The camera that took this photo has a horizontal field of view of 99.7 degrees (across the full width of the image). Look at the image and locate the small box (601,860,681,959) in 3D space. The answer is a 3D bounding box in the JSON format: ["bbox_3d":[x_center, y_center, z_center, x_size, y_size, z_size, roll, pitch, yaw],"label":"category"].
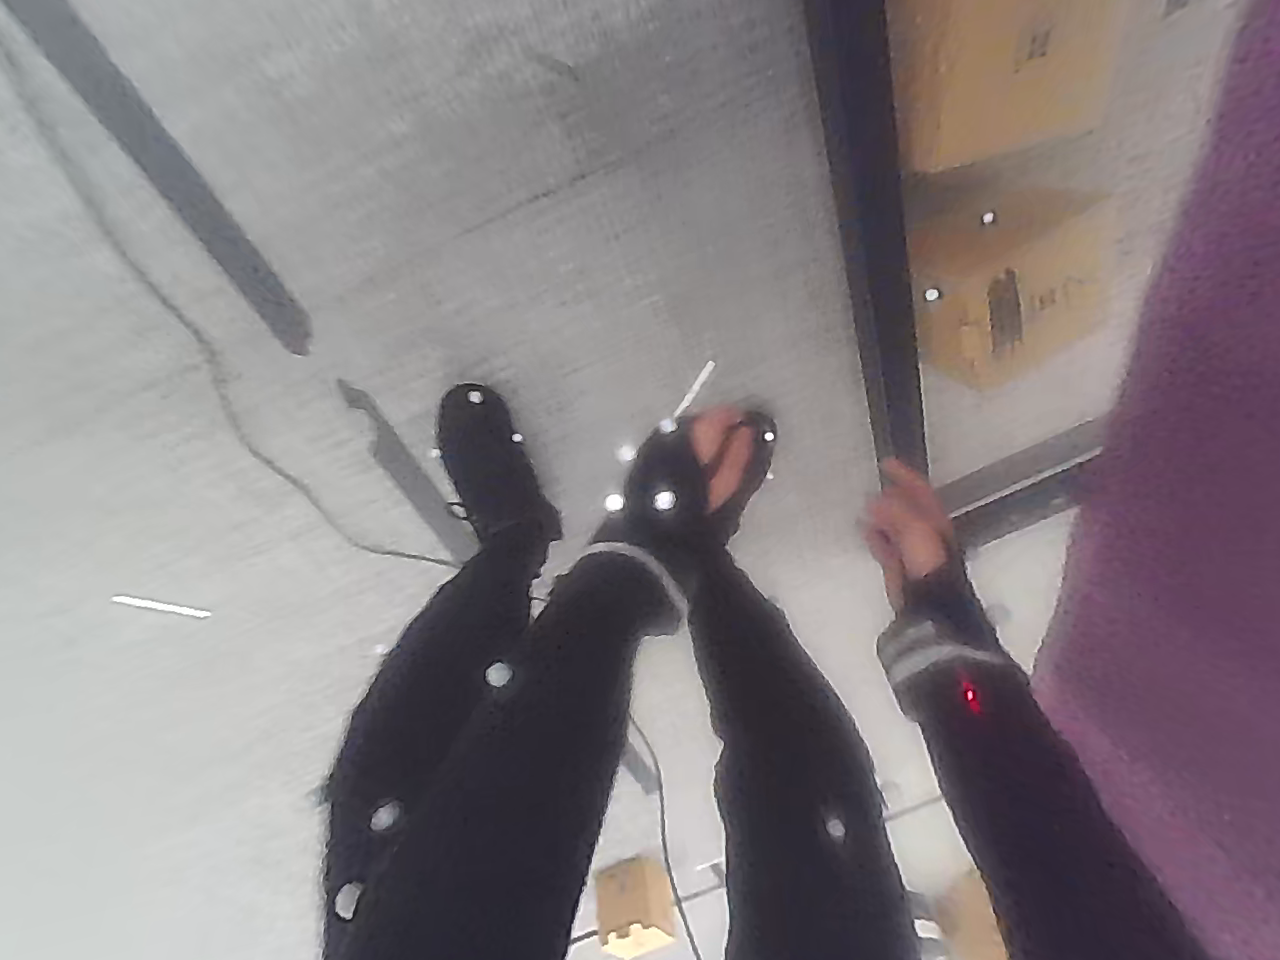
[{"bbox_3d":[-0.001,1.245,1.572,0.168,0.176,0.179,-26,123,6],"label":"small box"}]
